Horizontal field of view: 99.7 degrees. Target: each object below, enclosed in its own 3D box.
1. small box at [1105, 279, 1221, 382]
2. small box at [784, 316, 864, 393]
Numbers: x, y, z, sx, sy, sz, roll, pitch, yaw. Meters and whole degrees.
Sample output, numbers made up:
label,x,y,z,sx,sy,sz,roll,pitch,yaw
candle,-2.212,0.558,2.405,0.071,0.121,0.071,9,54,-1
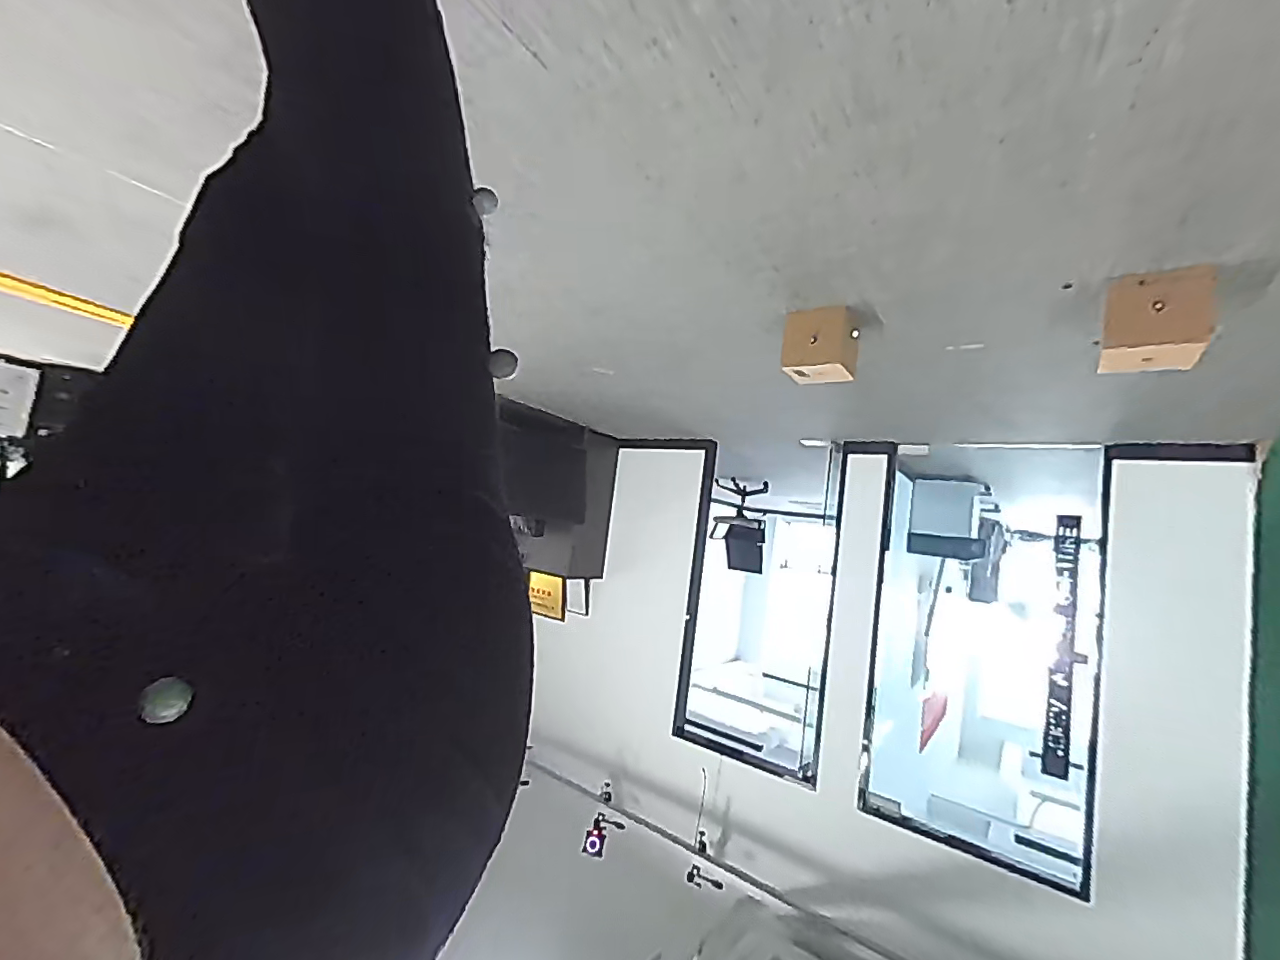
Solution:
label,x,y,z,sx,sy,sz,roll,pitch,yaw
small box,1.143,-0.328,1.191,0.168,0.176,0.179,4,173,38
small box,0.544,-0.366,1.589,0.179,0.176,0.168,2,173,37
